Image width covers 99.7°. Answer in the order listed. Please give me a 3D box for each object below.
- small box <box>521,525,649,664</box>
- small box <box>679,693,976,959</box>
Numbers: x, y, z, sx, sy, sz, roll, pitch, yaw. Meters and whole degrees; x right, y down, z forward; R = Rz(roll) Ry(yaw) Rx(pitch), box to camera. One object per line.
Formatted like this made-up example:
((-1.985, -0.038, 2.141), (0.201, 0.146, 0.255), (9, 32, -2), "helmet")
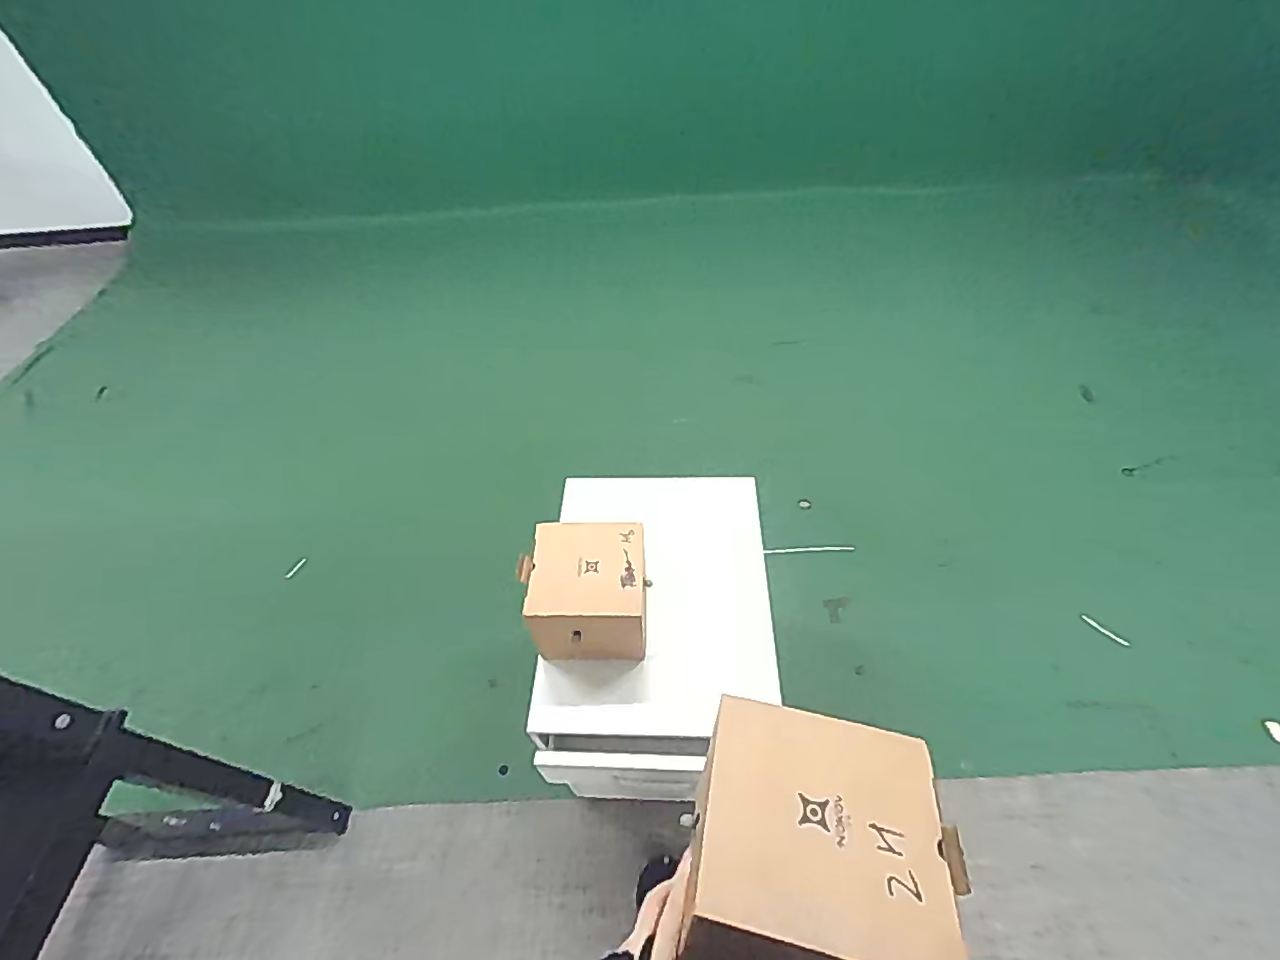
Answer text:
((-0.078, 0.187, 0.874), (0.179, 0.176, 0.168), (-1, 50, 3), "small box")
((0.133, 0.310, 0.439), (0.179, 0.176, 0.168), (11, 38, 9), "small box")
